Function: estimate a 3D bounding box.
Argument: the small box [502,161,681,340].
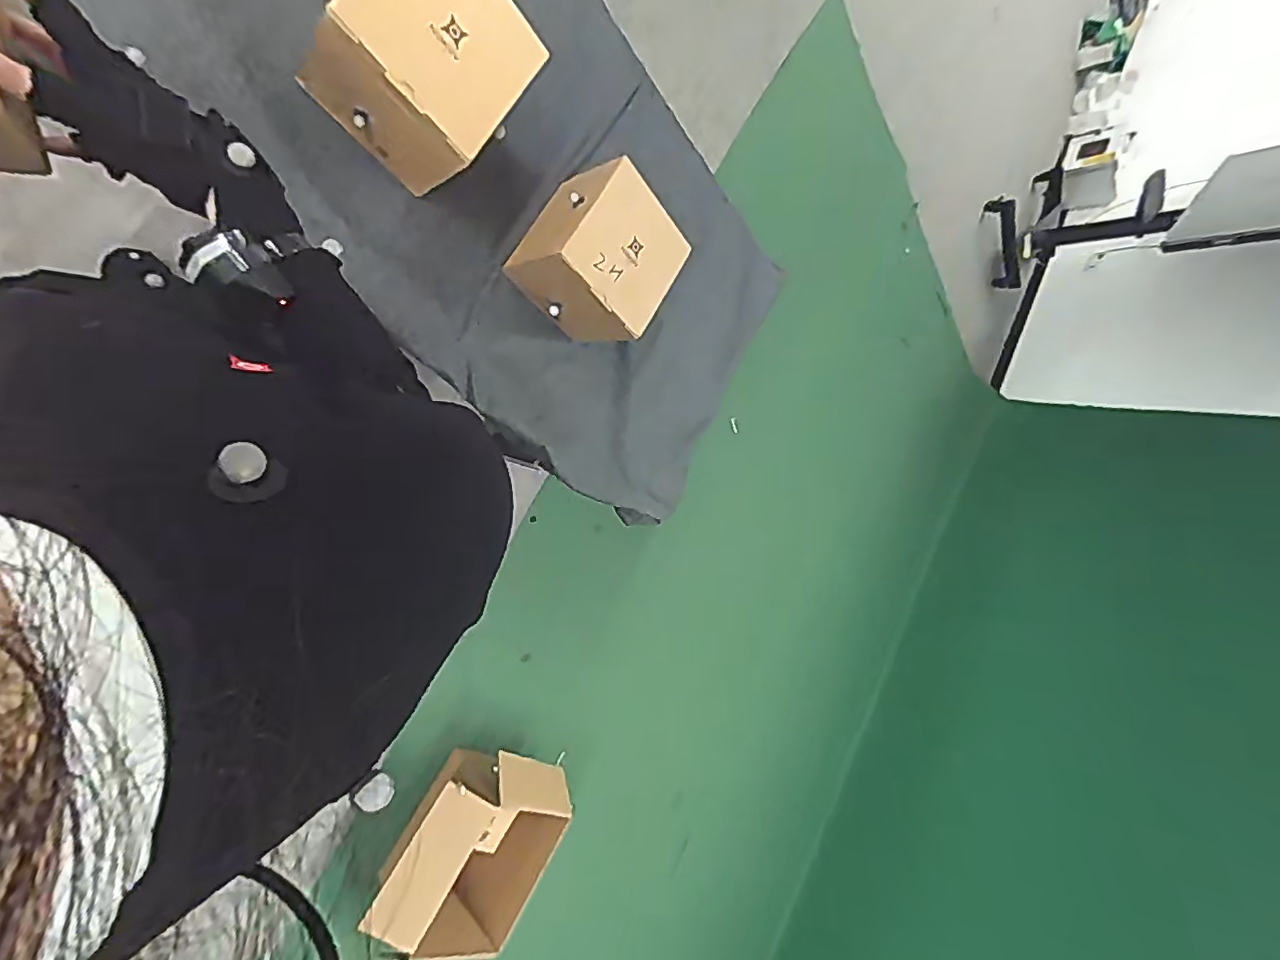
[{"bbox_3d":[-0.076,-0.331,0.813,0.168,0.176,0.179,40,73,-40],"label":"small box"}]

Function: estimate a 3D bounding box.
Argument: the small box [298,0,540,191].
[{"bbox_3d":[-0.256,-0.472,0.621,0.168,0.176,0.179,40,74,-41],"label":"small box"}]
